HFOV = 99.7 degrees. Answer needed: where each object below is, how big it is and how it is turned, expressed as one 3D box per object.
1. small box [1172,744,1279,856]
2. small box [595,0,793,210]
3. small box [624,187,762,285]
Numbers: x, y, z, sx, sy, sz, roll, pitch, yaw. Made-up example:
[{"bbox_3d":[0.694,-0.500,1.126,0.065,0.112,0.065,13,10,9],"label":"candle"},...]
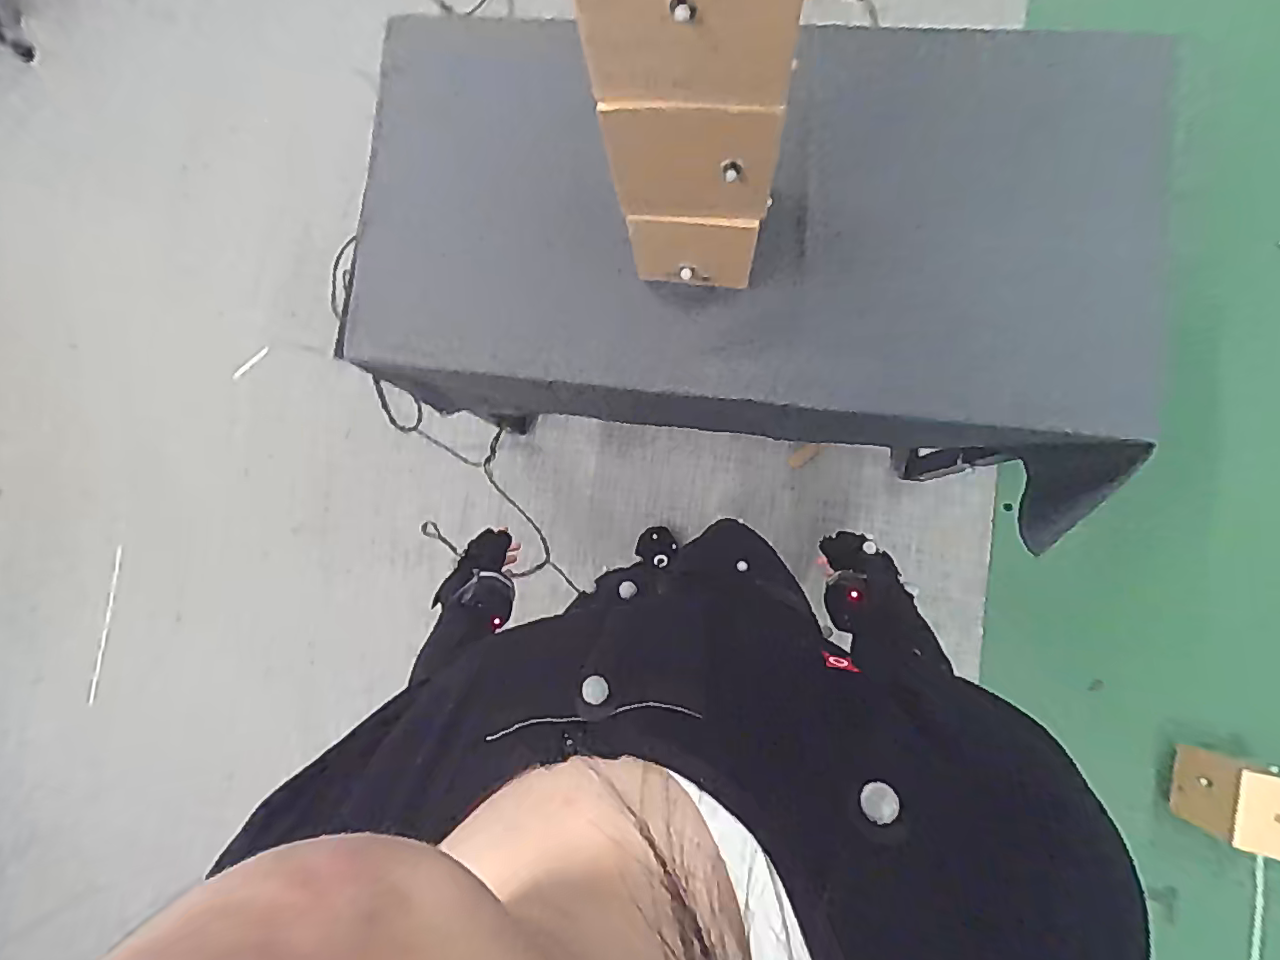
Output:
[{"bbox_3d":[1.372,0.722,1.224,0.179,0.176,0.168,12,85,7],"label":"small box"},{"bbox_3d":[0.059,-0.414,0.580,0.179,0.176,0.168,5,83,7],"label":"small box"},{"bbox_3d":[0.080,-0.393,0.740,0.168,0.176,0.179,8,85,7],"label":"small box"}]
